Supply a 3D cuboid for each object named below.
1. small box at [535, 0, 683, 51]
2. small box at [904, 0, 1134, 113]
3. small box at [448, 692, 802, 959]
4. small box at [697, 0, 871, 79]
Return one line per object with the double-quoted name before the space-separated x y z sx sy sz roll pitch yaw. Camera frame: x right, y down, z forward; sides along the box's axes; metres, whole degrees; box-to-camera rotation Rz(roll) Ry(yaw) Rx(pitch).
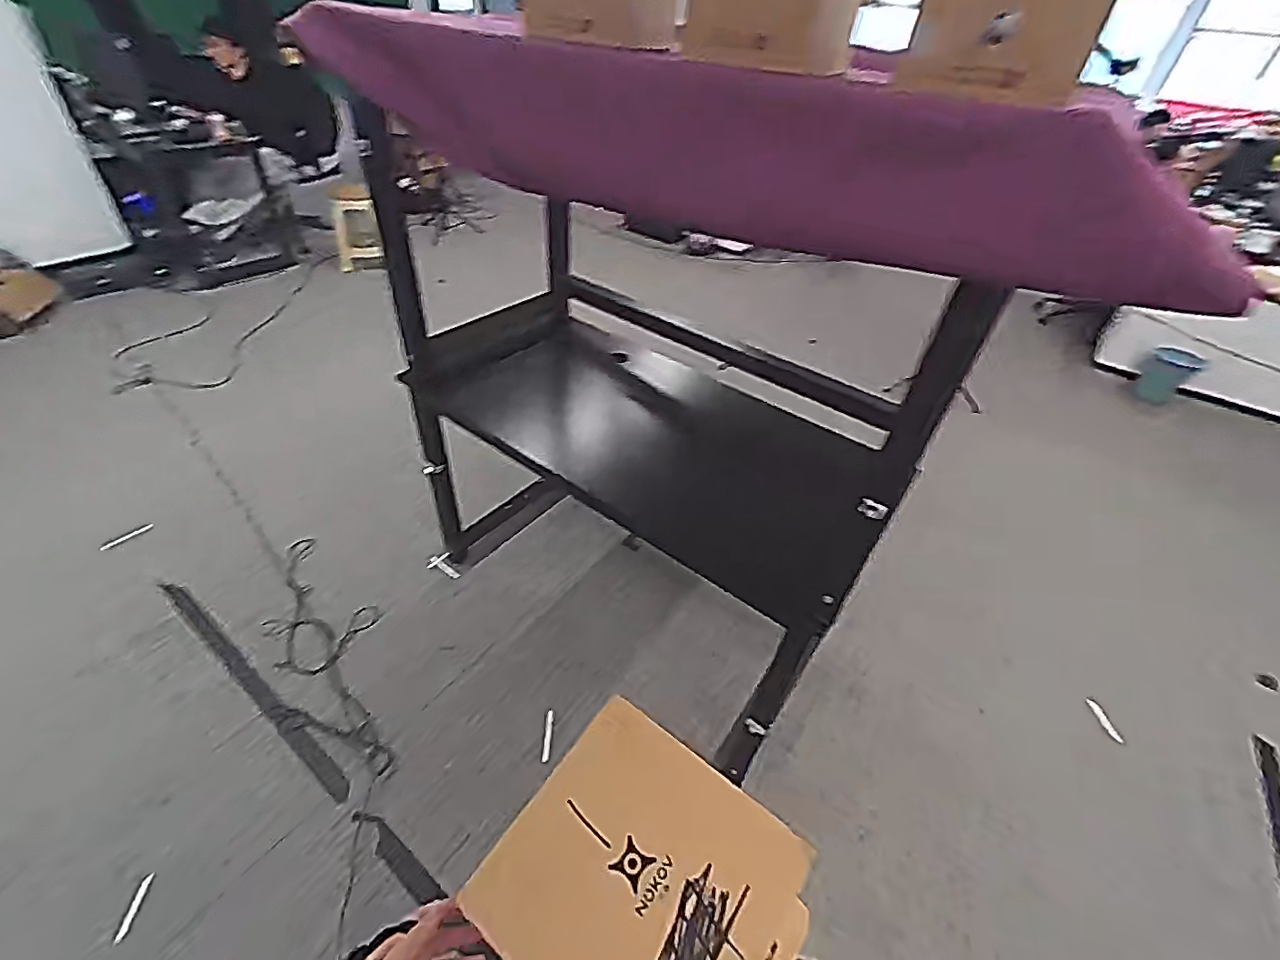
"small box" -0.039 -0.714 0.757 0.168 0.176 0.179 22 43 17
"small box" 0.382 -0.475 0.531 0.168 0.176 0.179 23 43 20
"small box" -0.013 0.303 0.412 0.179 0.176 0.168 33 53 17
"small box" 0.182 -0.597 0.652 0.168 0.176 0.179 27 44 21
